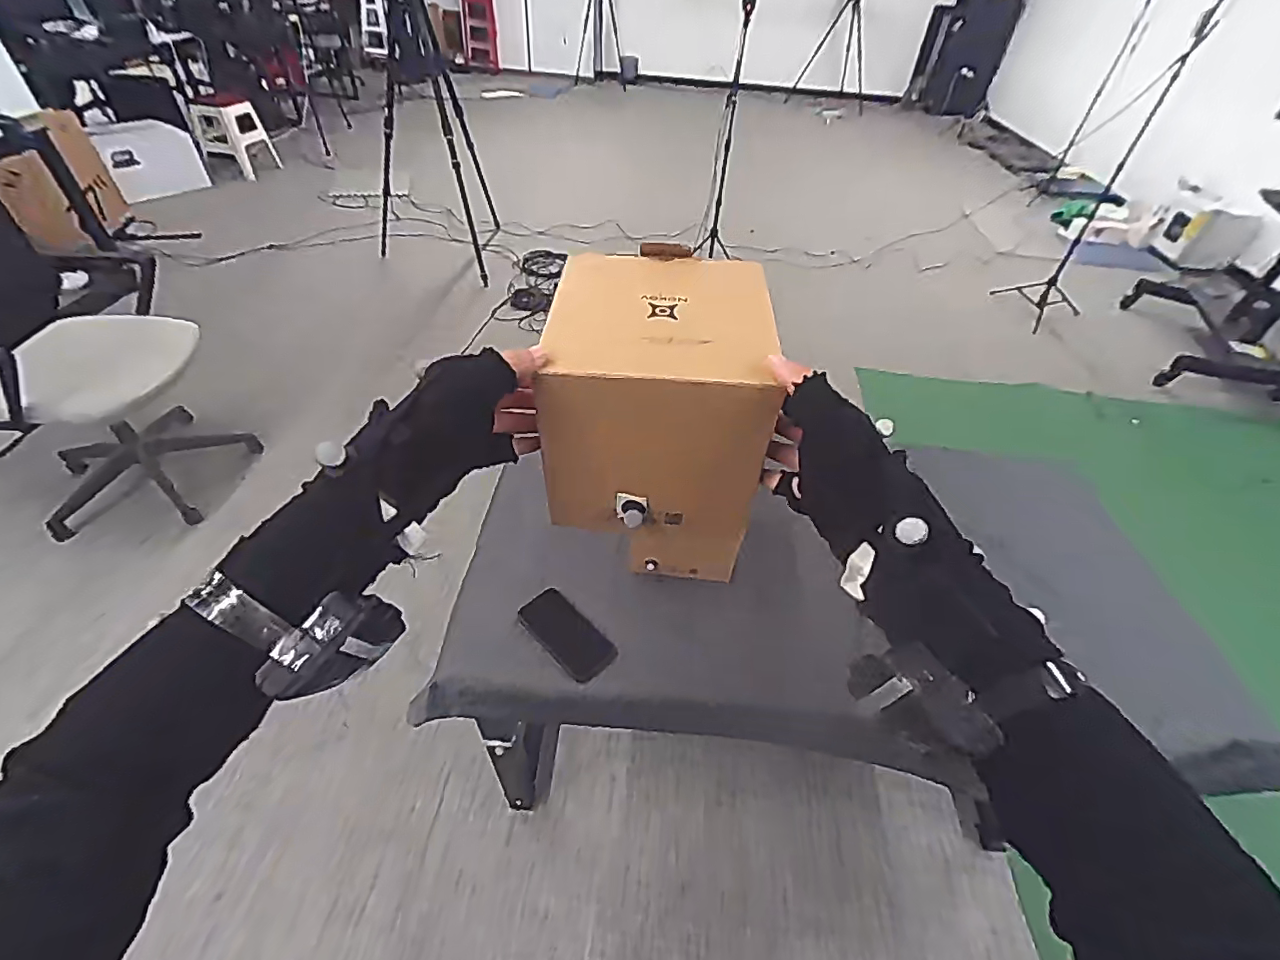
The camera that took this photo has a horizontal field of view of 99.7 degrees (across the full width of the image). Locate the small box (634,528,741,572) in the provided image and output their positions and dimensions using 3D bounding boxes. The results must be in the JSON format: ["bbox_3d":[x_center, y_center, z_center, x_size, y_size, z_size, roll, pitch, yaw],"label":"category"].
[{"bbox_3d":[0.082,0.033,0.901,0.168,0.176,0.179,7,44,2],"label":"small box"}]

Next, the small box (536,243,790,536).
[{"bbox_3d":[0.016,-0.076,0.456,0.168,0.176,0.179,3,48,1],"label":"small box"}]
